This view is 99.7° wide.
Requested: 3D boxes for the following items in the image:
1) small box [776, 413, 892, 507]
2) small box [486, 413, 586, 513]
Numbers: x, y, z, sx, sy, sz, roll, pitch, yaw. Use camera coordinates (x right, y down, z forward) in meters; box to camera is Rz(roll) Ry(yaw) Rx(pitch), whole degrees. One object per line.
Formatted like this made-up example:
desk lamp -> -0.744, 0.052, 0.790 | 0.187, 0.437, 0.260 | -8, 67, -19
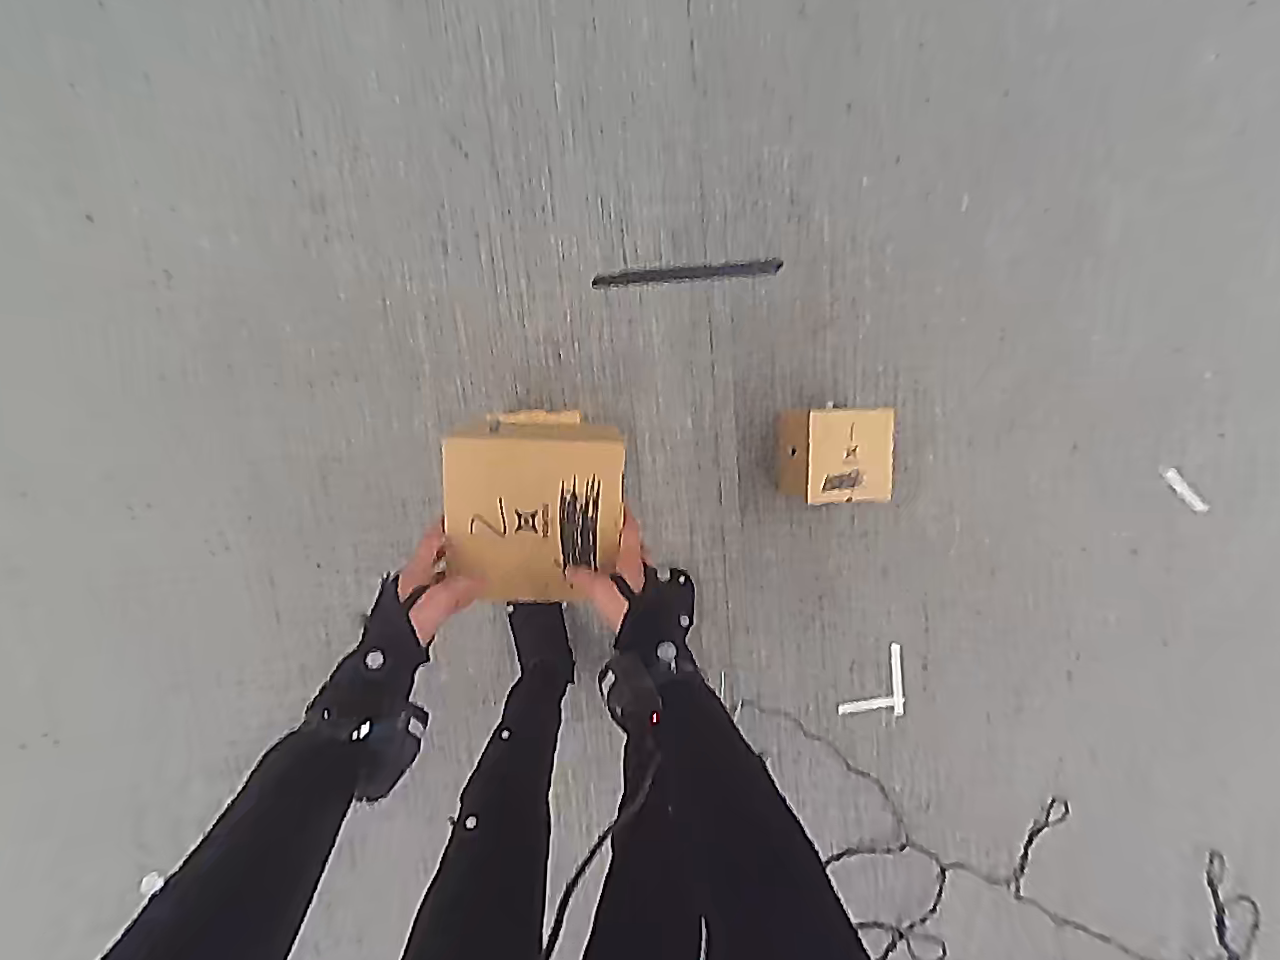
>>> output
small box -> 0.381, -0.046, 1.085 | 0.168, 0.176, 0.179 | -1, 96, -5
small box -> -0.192, -0.038, 1.046 | 0.168, 0.176, 0.179 | -3, 96, -3
